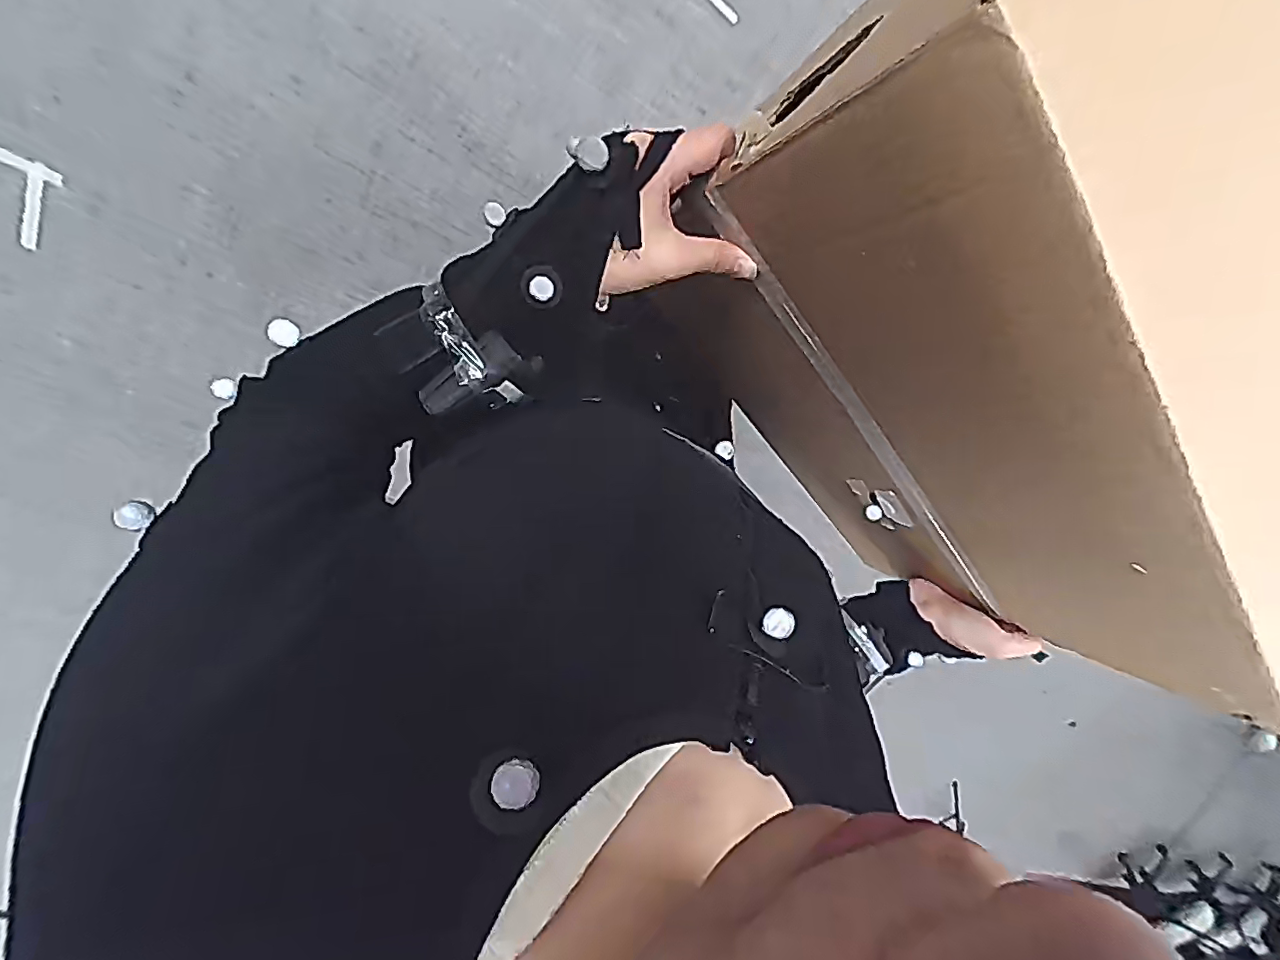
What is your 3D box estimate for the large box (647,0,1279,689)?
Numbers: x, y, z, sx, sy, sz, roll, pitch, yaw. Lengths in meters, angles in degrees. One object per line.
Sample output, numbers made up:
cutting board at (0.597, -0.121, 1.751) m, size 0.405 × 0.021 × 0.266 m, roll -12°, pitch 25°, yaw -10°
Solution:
large box at (0.284, -0.144, 0.352) m, size 0.320 × 0.320 × 0.408 m, roll -48°, pitch 112°, yaw -6°
